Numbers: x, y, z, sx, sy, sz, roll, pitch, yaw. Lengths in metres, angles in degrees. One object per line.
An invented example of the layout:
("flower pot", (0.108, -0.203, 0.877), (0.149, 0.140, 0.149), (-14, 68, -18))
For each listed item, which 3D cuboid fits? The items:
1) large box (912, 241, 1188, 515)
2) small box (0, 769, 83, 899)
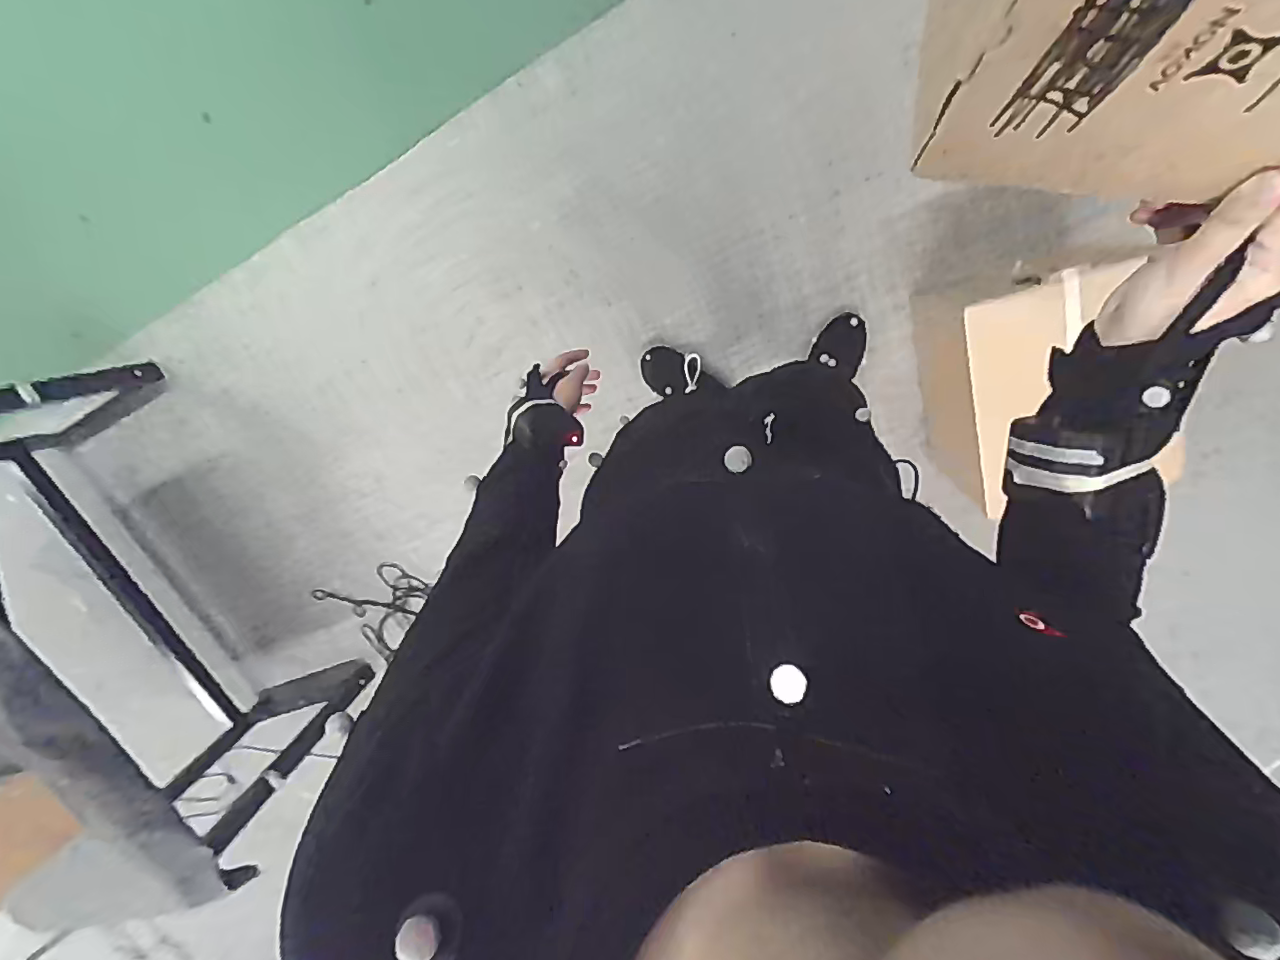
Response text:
("large box", (0.759, -0.202, 1.043), (0.320, 0.320, 0.408), (-14, 109, 16))
("small box", (-1.273, 0.704, 1.059), (0.168, 0.176, 0.179), (-18, 106, 18))
